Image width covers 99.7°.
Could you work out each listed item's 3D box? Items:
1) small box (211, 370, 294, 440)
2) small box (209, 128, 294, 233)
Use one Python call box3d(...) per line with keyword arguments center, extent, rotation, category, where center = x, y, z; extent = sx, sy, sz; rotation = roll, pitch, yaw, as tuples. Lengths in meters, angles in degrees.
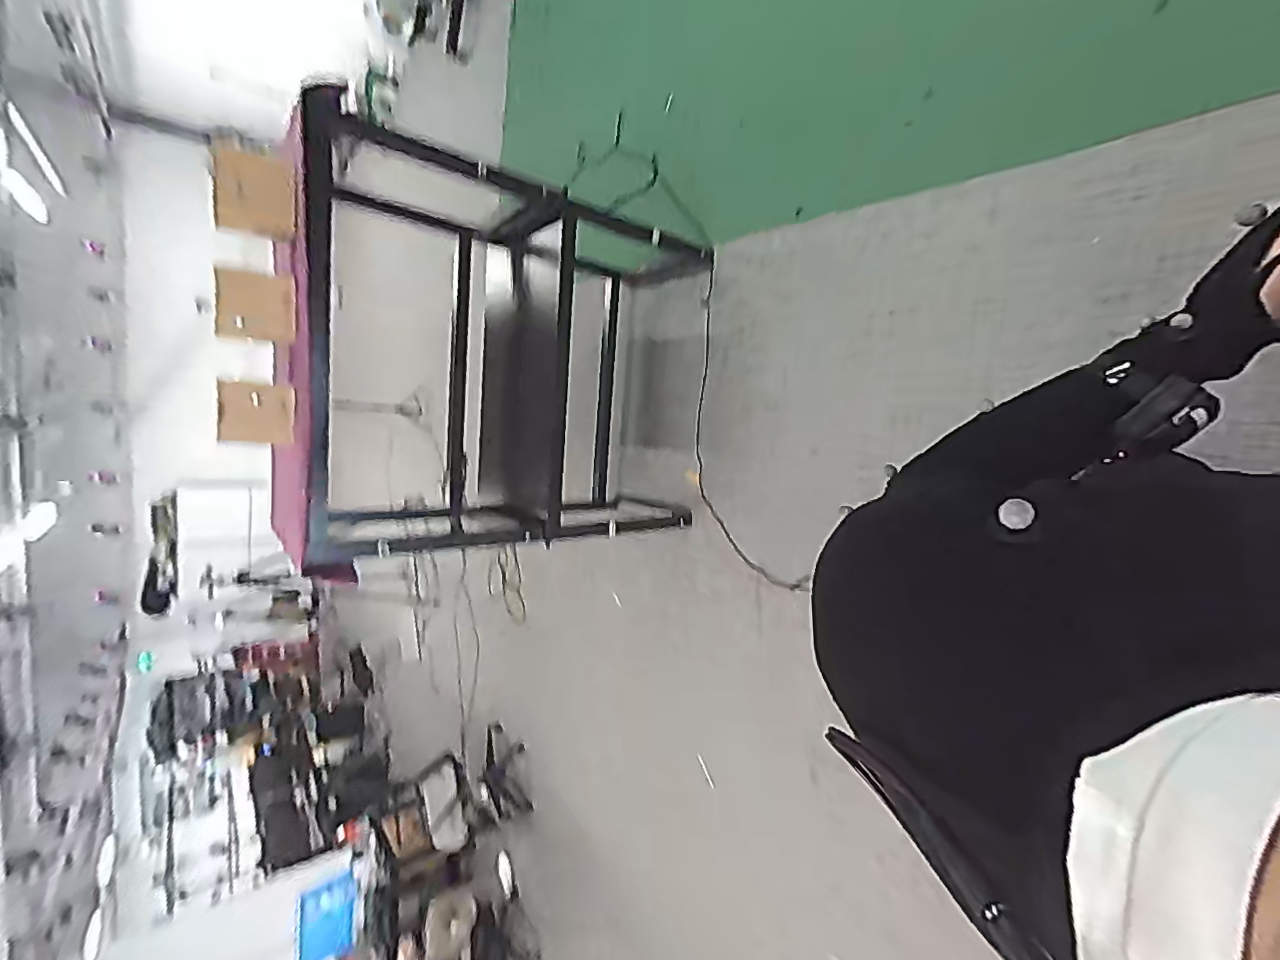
box3d(center=(-1.025, -0.197, 1.429), extent=(0.179, 0.176, 0.168), rotation=(15, 101, 51), category="small box")
box3d(center=(-0.984, -0.745, 1.373), extent=(0.168, 0.176, 0.179), rotation=(12, 100, 51), category="small box")
